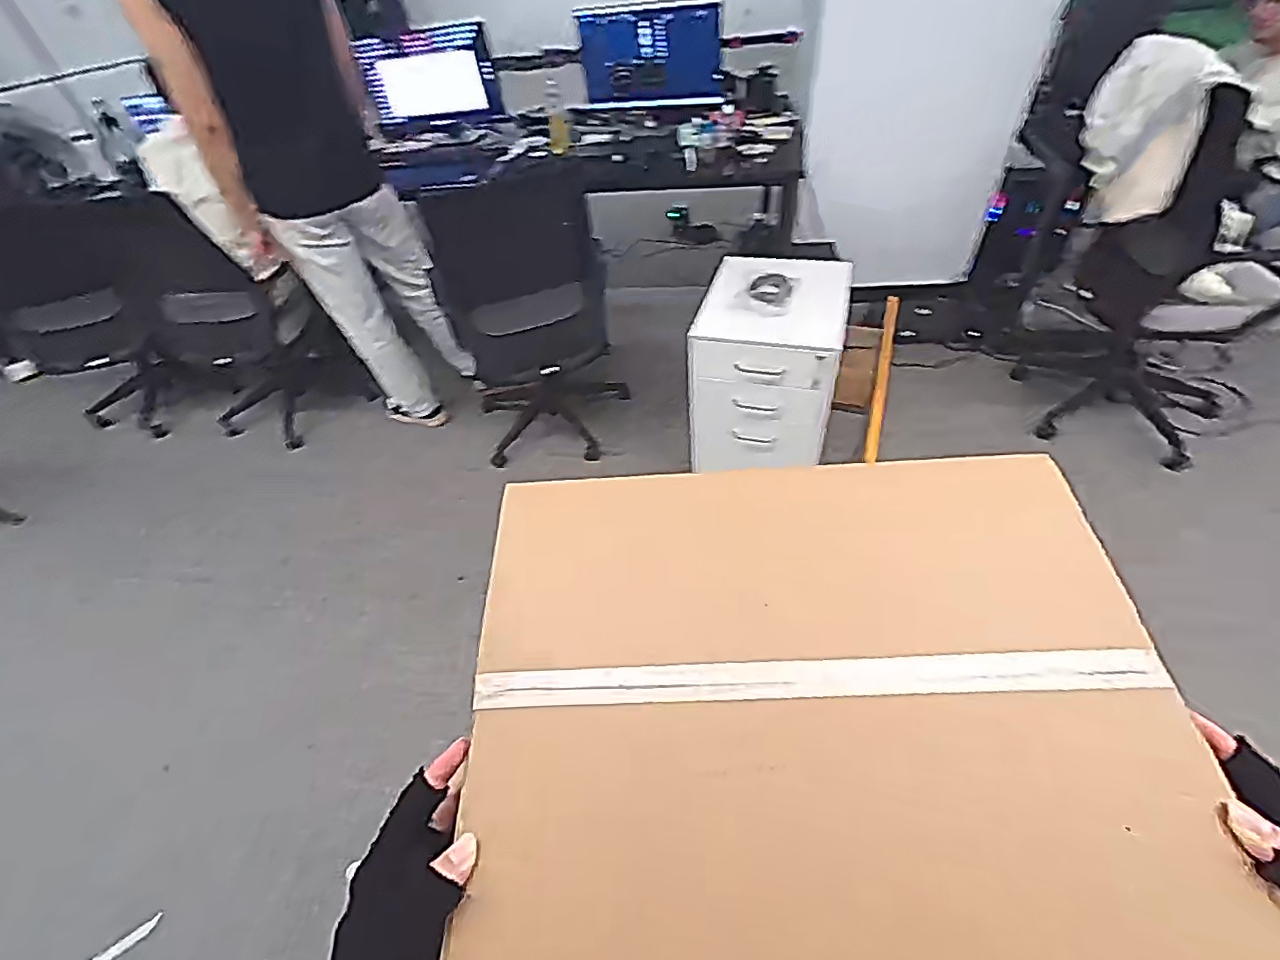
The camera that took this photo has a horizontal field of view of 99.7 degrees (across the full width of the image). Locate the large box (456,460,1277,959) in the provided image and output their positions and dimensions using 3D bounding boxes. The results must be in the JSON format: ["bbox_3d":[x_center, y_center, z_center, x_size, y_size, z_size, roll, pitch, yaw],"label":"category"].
[{"bbox_3d":[0.109,0.209,0.462,0.408,0.320,0.320,-4,57,4],"label":"large box"}]
